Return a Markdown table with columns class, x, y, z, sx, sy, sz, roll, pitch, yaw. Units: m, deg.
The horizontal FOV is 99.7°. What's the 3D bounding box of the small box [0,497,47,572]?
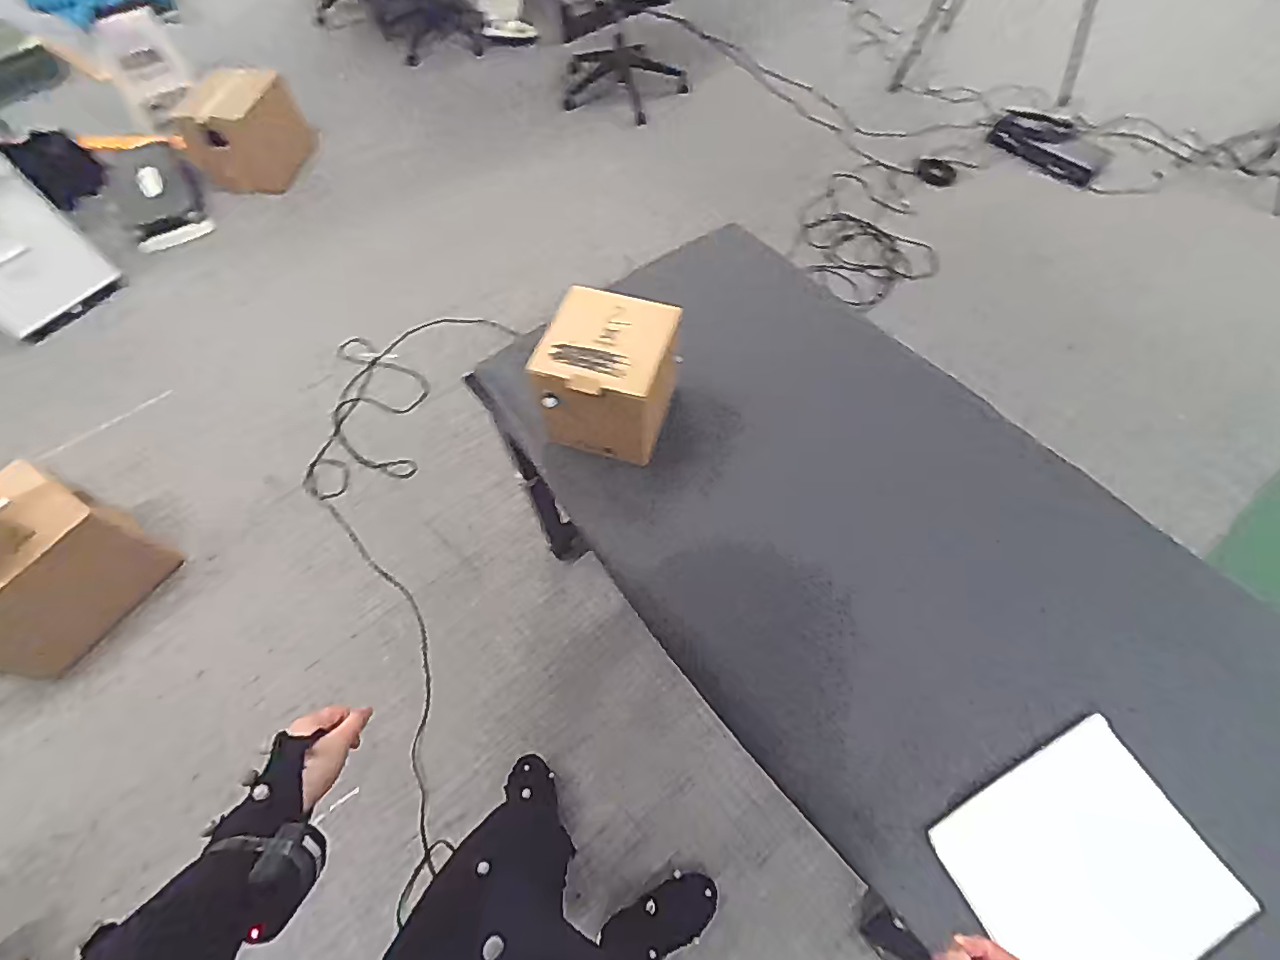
| class | x | y | z | sx | sy | sz | roll | pitch | yaw |
| --- | --- | --- | --- | --- | --- | --- | --- | --- | --- |
| small box | -1.512 | 0.119 | 1.198 | 0.168 | 0.176 | 0.179 | 29 | 65 | 16 |
